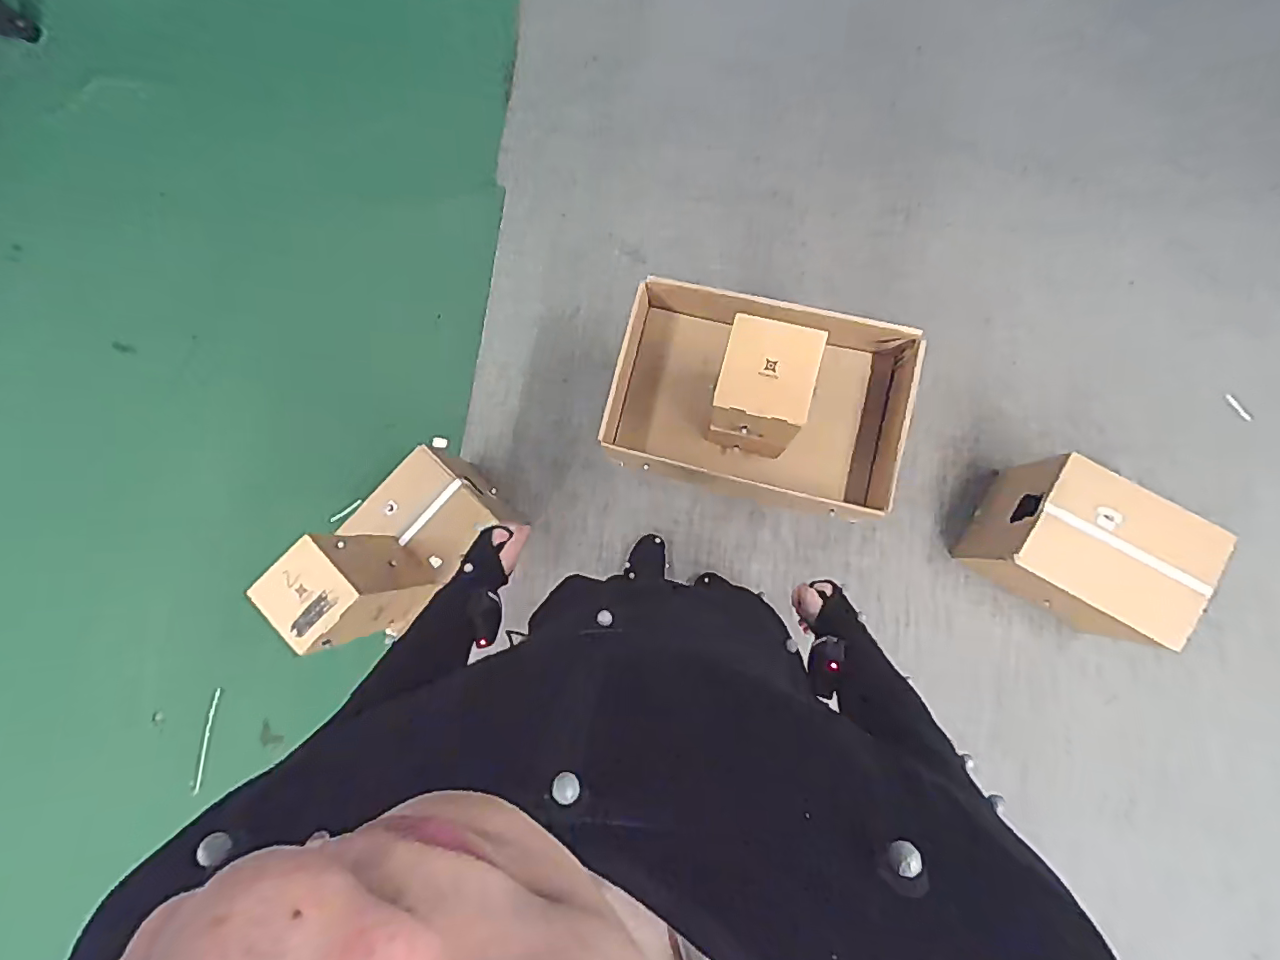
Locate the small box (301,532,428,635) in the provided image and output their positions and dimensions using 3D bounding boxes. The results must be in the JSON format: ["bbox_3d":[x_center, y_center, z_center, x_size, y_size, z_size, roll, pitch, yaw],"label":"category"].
[{"bbox_3d":[-0.647,0.239,1.295,0.168,0.176,0.179,-44,82,-3],"label":"small box"}]

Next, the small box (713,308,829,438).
[{"bbox_3d":[0.236,-0.193,1.017,0.168,0.176,0.179,15,85,7],"label":"small box"}]

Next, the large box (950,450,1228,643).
[{"bbox_3d":[1.137,0.170,1.420,0.408,0.320,0.320,30,86,8],"label":"large box"}]
